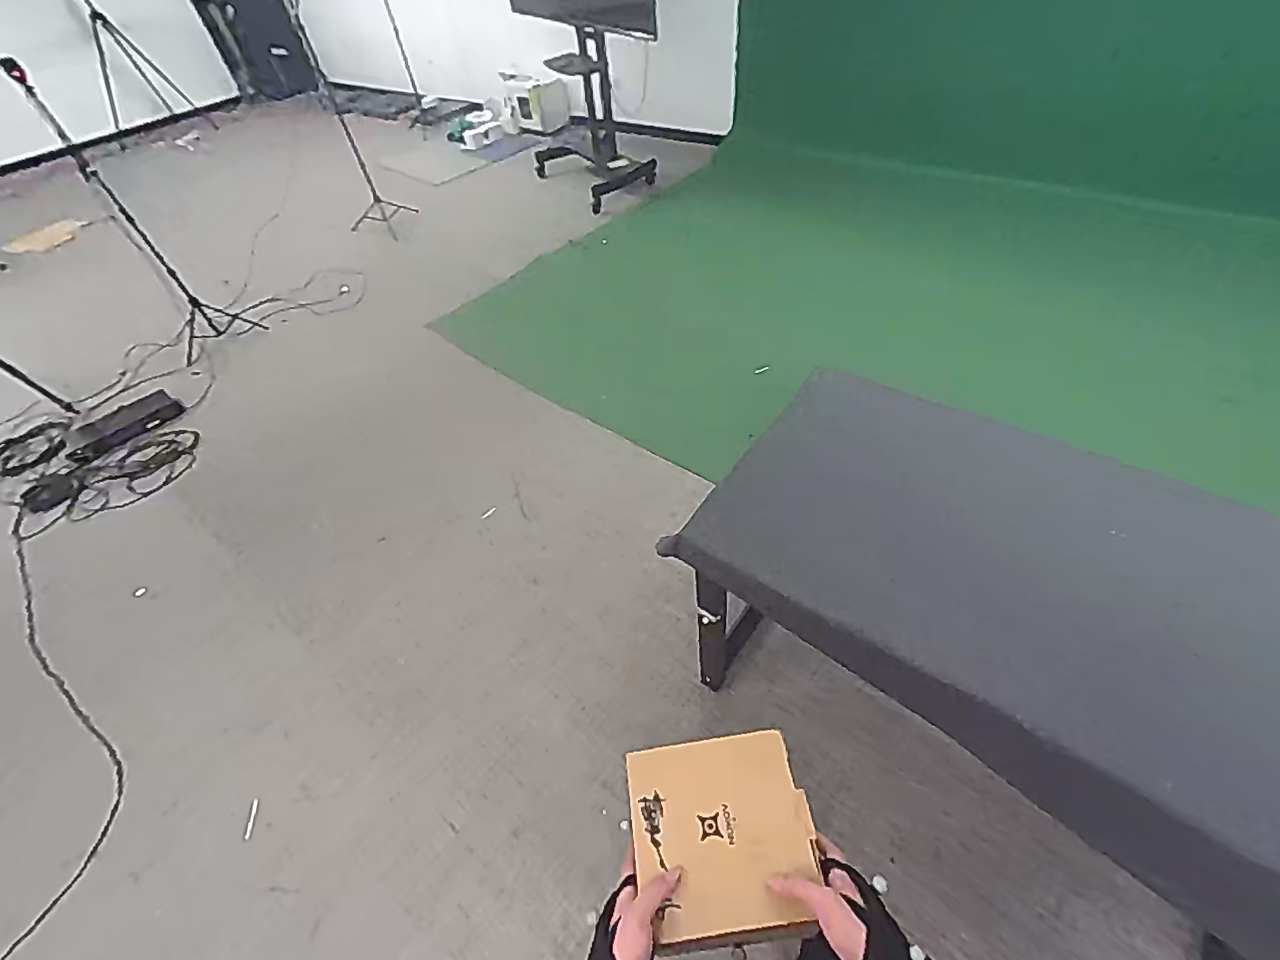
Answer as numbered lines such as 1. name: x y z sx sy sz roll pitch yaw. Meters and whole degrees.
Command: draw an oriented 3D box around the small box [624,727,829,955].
1. small box: 0.083 0.395 0.591 0.179 0.176 0.168 -9 44 0
